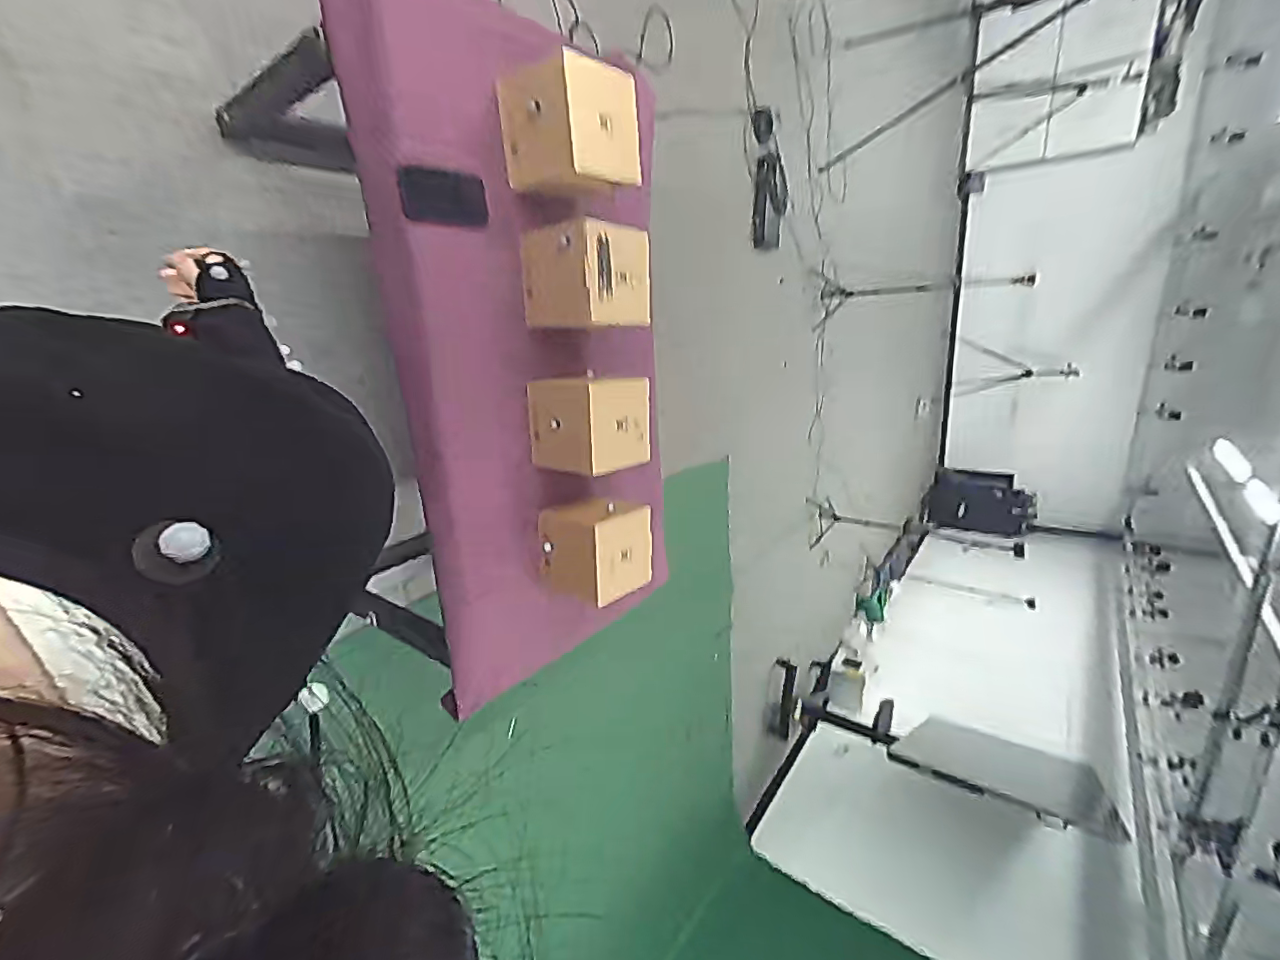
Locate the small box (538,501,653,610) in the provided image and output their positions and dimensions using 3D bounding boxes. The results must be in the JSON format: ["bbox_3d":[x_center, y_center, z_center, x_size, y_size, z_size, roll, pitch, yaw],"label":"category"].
[{"bbox_3d":[-0.091,0.145,1.124,0.179,0.176,0.168,-14,107,-51],"label":"small box"}]

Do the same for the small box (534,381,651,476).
[{"bbox_3d":[-0.096,-0.108,1.063,0.179,0.176,0.168,-17,111,-50],"label":"small box"}]

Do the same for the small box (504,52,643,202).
[{"bbox_3d":[-0.118,-0.592,0.936,0.179,0.176,0.168,-26,117,-48],"label":"small box"}]
